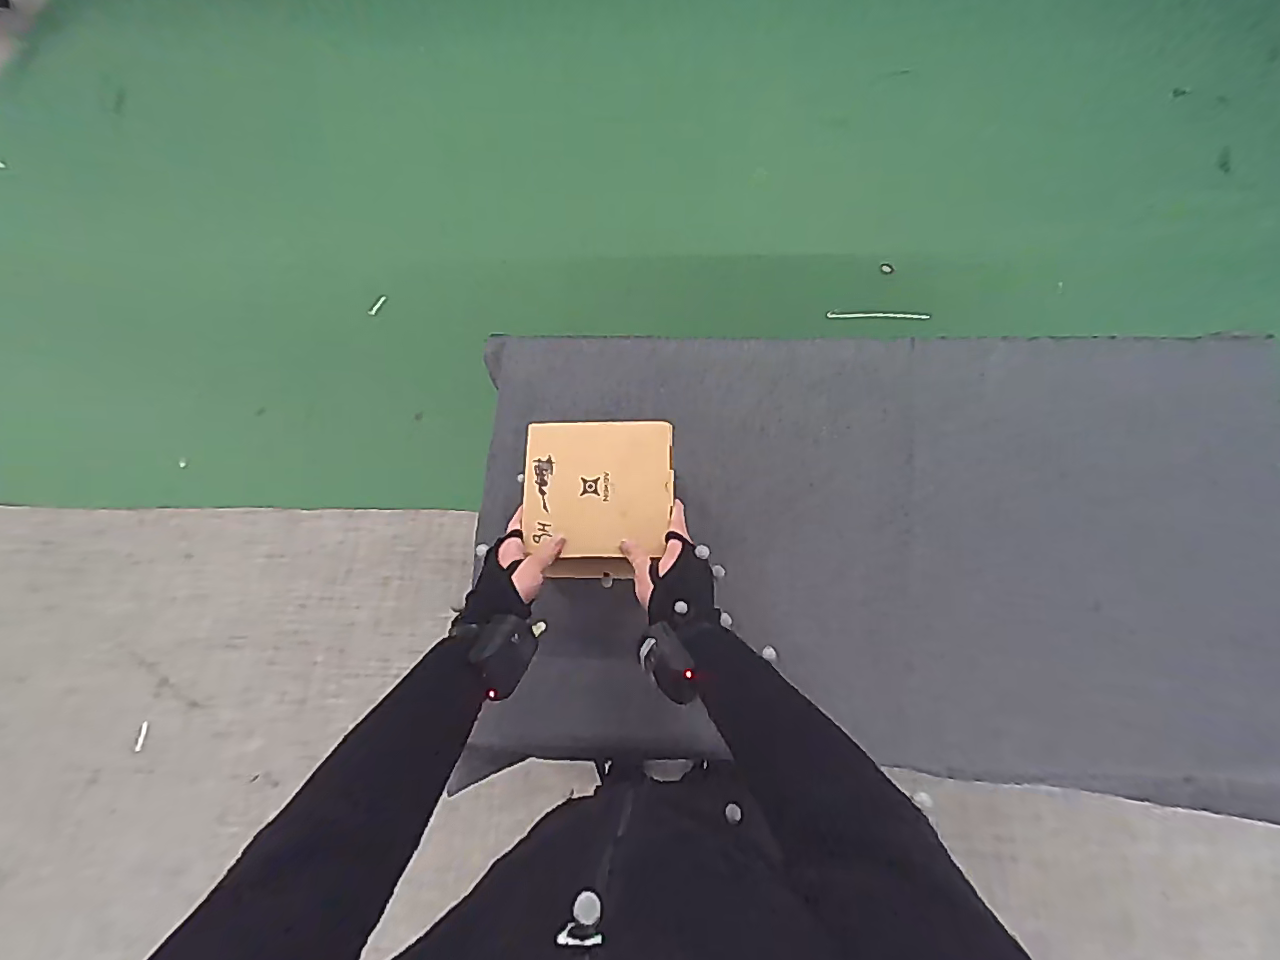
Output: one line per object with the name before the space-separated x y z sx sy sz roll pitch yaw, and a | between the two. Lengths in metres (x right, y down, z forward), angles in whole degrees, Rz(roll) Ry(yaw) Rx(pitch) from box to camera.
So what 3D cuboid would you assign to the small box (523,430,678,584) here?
small box | -0.043 0.042 0.708 0.179 0.176 0.168 0 72 2
